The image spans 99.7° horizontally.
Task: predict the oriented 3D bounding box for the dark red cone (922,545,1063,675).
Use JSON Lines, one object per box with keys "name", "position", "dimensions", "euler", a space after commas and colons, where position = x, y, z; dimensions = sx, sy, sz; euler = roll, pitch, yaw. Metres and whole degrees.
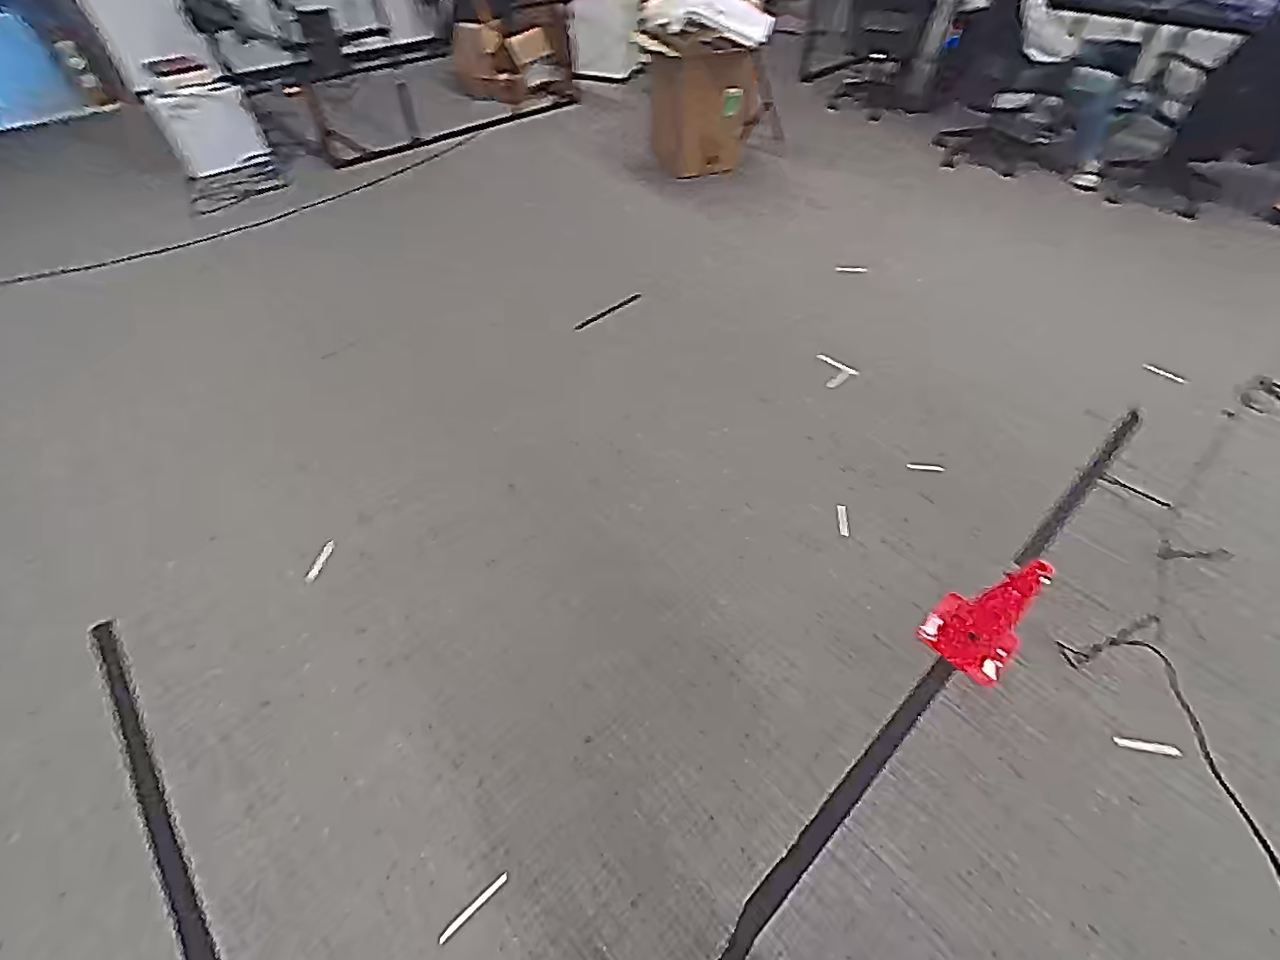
{"name": "dark red cone", "position": [0.870, 0.280, 1.291], "dimensions": [0.202, 0.394, 0.201], "euler": [-36, 59, -27]}
